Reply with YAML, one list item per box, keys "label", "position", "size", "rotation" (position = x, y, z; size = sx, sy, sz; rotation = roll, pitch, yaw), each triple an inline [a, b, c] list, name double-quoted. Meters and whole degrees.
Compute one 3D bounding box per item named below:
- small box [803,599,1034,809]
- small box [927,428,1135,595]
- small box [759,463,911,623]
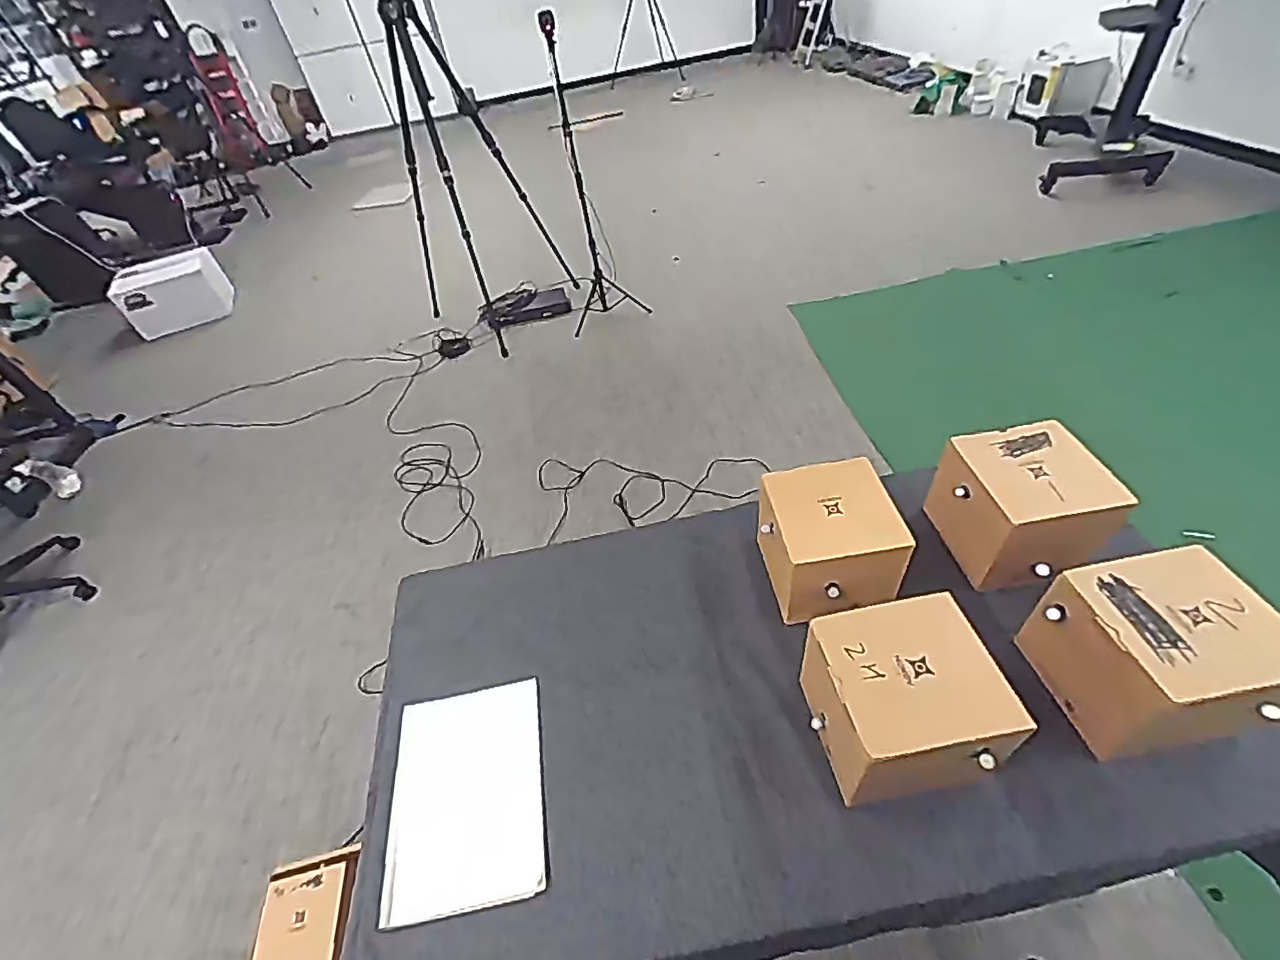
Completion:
- label: "small box"
  position: [0.310, 0.271, 0.650]
  size: [0.179, 0.176, 0.168]
  rotation: [-12, 43, 0]
- label: "small box"
  position: [0.568, 0.049, 0.821]
  size: [0.168, 0.176, 0.179]
  rotation: [-10, 45, 2]
- label: "small box"
  position: [0.284, 0.103, 0.828]
  size: [0.168, 0.176, 0.179]
  rotation: [-10, 44, 2]
